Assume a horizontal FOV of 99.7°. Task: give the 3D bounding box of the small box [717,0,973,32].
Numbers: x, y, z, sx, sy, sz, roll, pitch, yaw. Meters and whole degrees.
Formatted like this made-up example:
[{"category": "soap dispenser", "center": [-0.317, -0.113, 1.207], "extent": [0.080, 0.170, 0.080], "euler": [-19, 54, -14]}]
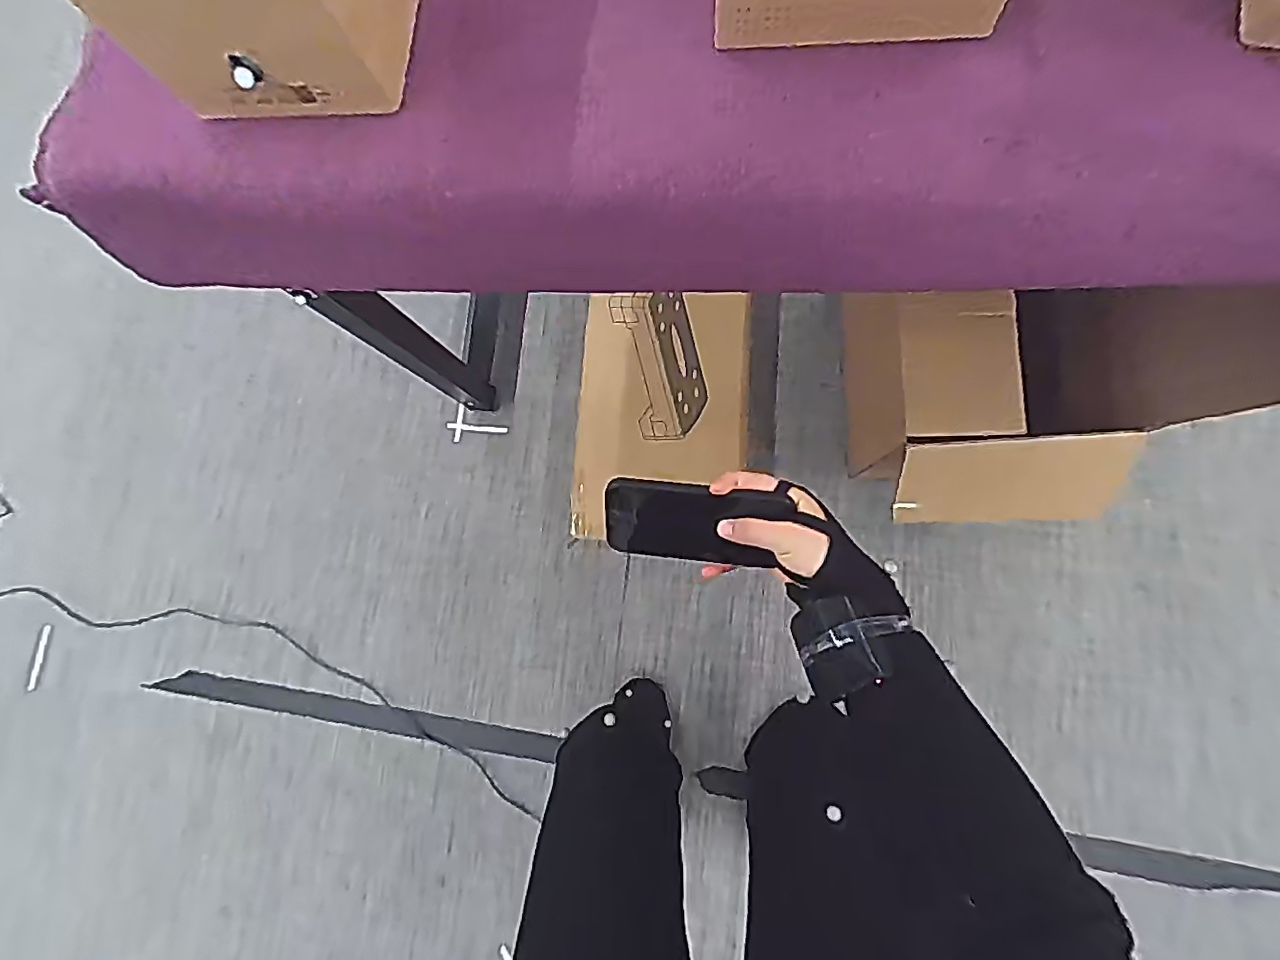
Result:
[{"category": "small box", "center": [0.135, -0.386, 0.288], "extent": [0.179, 0.176, 0.168], "euler": [3, 79, 7]}]
